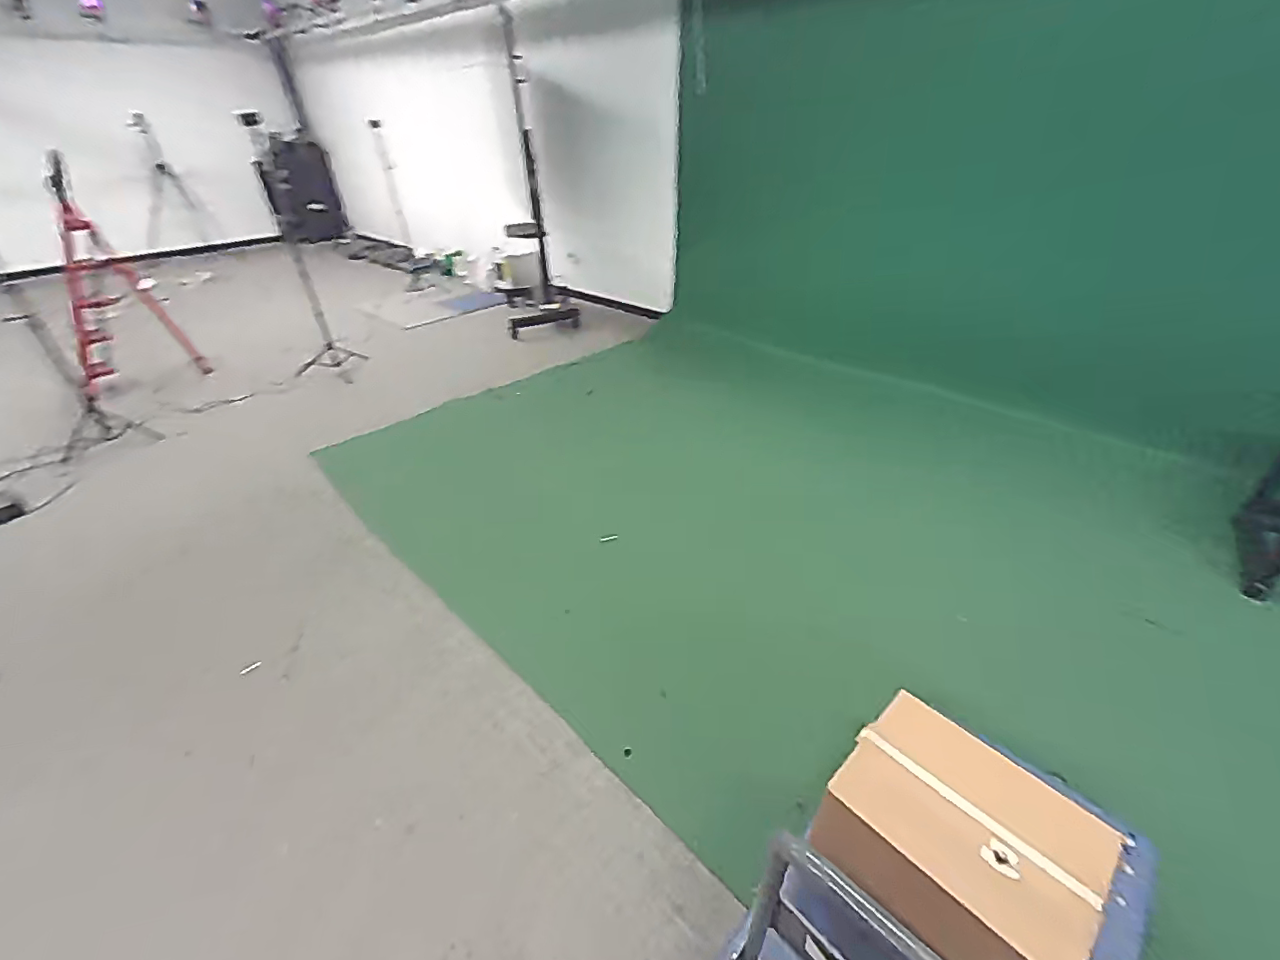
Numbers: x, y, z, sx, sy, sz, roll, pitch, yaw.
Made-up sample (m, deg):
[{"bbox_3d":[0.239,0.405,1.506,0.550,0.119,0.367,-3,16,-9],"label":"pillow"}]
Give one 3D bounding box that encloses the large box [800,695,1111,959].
[{"bbox_3d":[0.594,0.734,1.080,0.320,0.320,0.408,-27,43,-34],"label":"large box"}]
